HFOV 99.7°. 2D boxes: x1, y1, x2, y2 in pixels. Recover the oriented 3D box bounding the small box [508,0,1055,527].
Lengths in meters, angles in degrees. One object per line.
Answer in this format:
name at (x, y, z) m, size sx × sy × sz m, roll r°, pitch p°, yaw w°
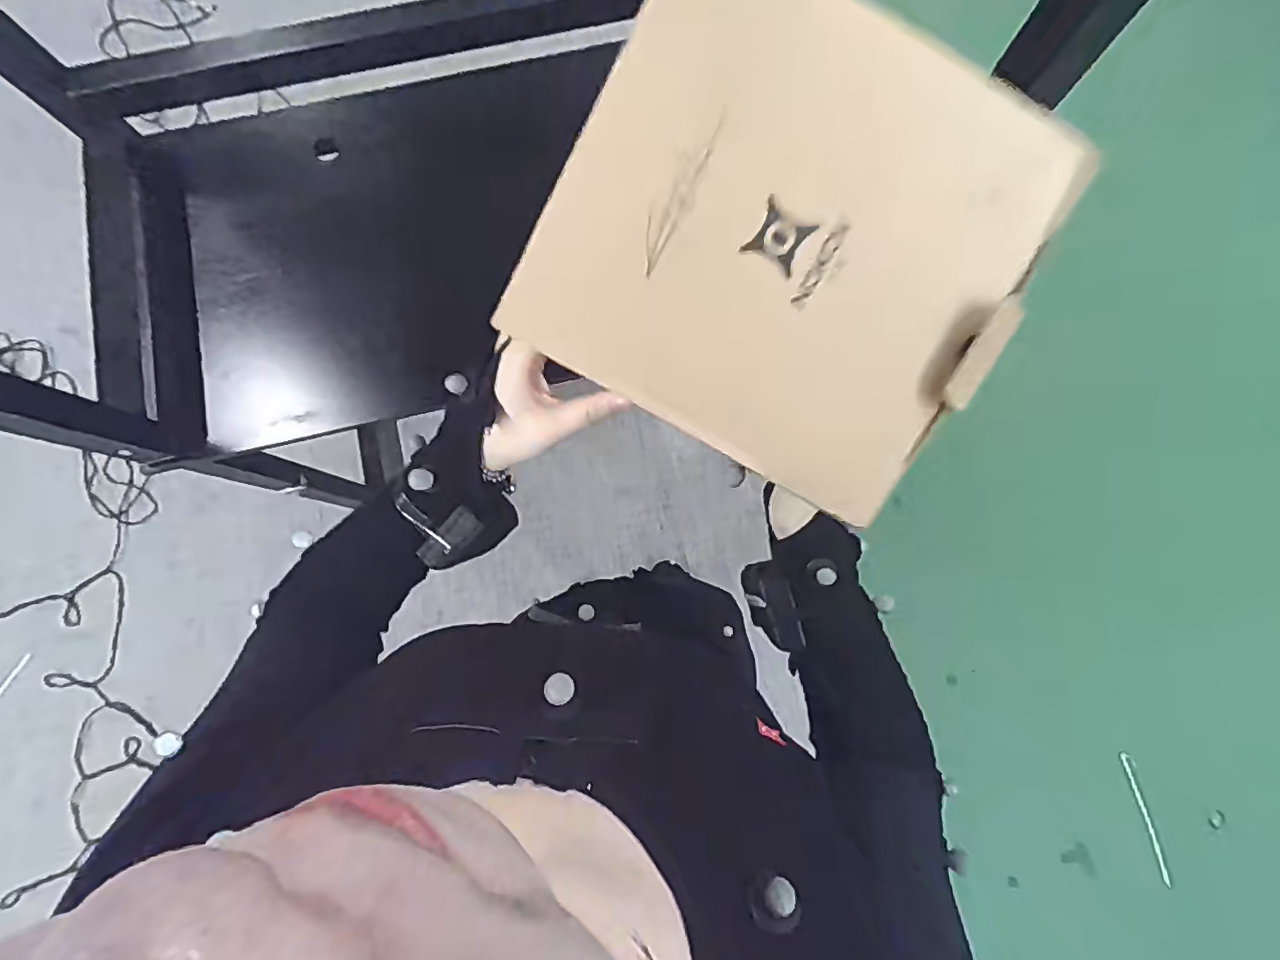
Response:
small box at (0.057, -0.099, 0.303) m, size 0.179 × 0.176 × 0.168 m, roll 27°, pitch 97°, yaw -3°
